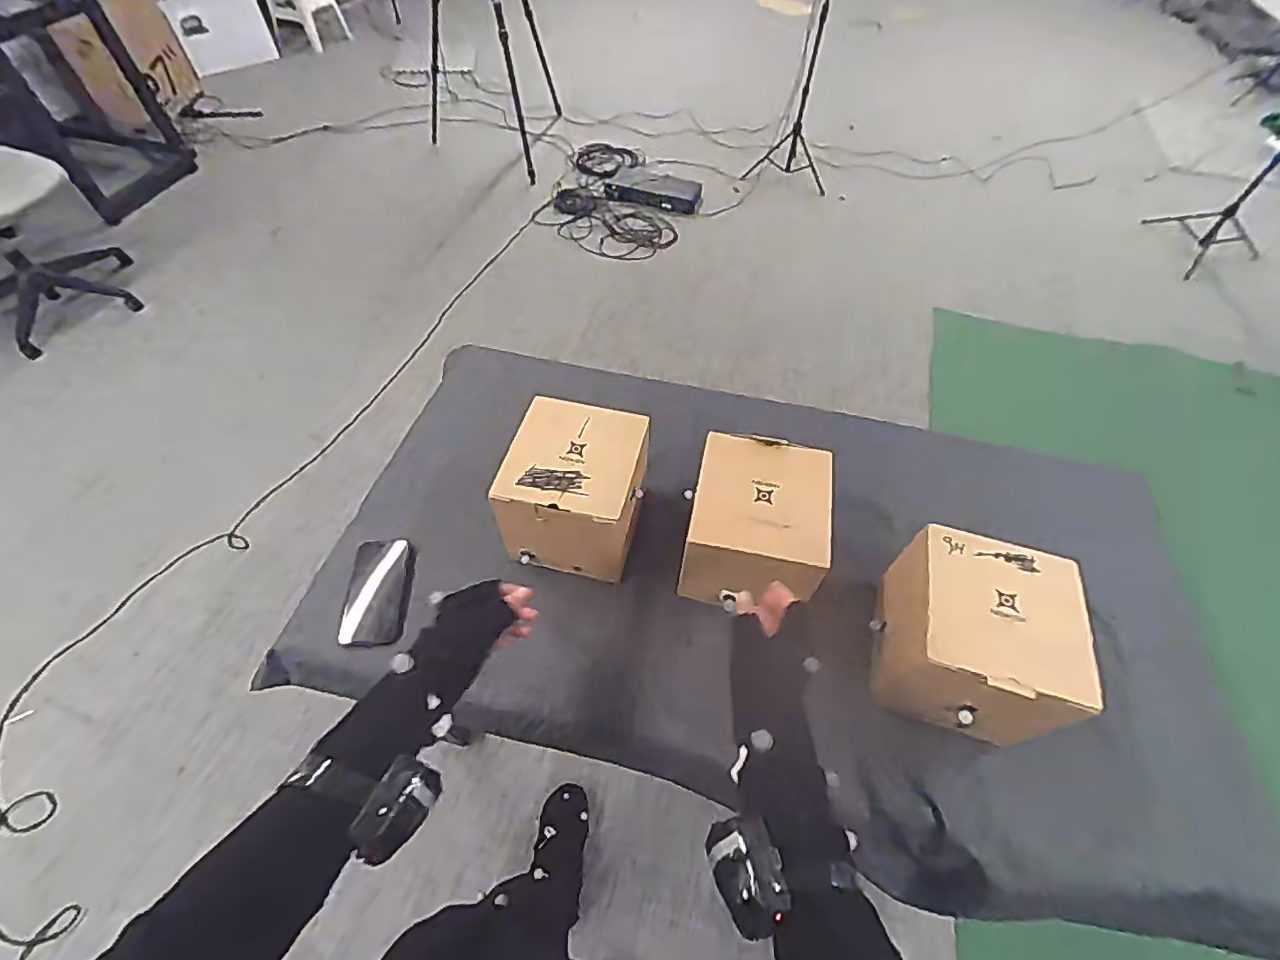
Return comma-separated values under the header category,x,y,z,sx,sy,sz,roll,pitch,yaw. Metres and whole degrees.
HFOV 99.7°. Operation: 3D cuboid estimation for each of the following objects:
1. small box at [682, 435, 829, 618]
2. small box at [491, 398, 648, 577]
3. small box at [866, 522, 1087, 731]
category,x,y,z,sx,sy,sz,roll,pitch,yaw
small box,0.153,0.066,0.741,0.168,0.176,0.179,9,56,7
small box,-0.087,0.015,0.764,0.168,0.176,0.179,11,54,6
small box,0.391,0.184,0.660,0.168,0.176,0.179,16,56,8
